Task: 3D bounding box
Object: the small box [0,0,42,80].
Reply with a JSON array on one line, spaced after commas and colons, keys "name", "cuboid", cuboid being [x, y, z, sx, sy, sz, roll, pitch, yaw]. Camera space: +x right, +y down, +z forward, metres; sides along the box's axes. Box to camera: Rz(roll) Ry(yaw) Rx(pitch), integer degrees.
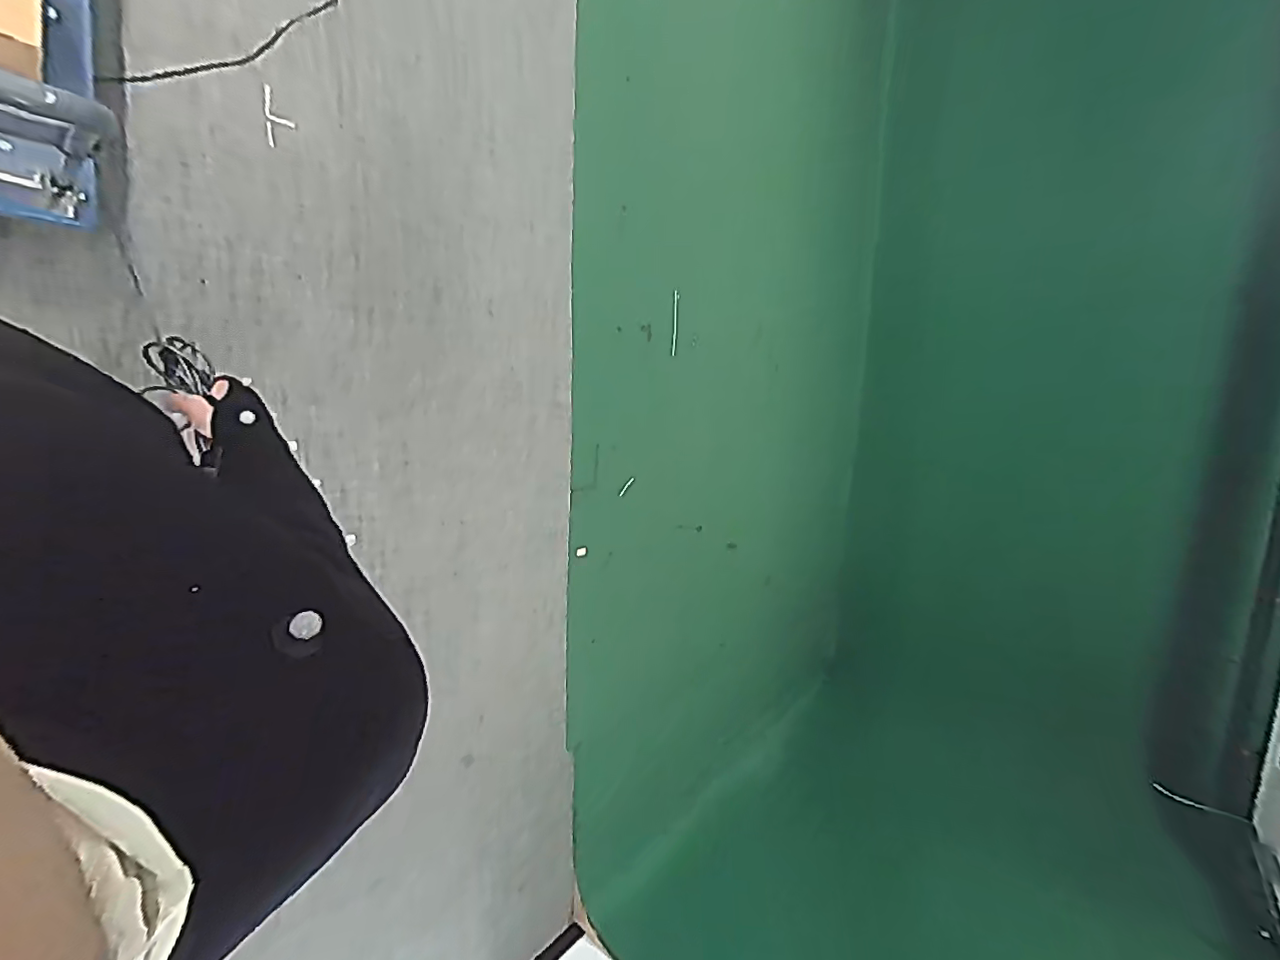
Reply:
[{"name": "small box", "cuboid": [-1.034, -0.763, 0.820, 0.168, 0.176, 0.179, -2, 100, -49]}]
